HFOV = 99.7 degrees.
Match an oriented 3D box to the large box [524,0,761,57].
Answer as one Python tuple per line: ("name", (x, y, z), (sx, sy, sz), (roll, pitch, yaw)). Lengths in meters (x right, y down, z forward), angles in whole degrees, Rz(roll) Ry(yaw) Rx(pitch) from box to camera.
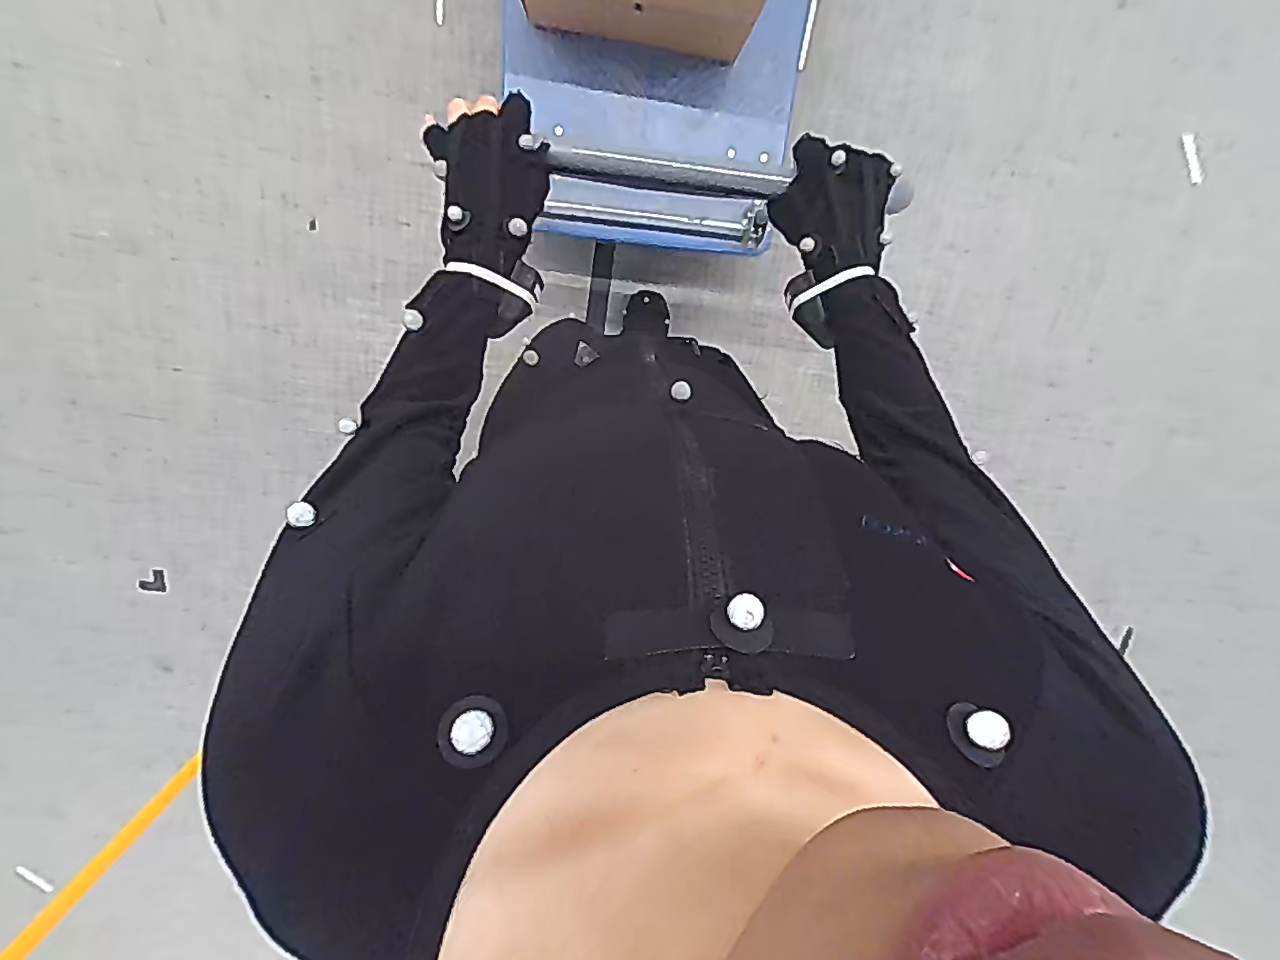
("large box", (0.012, -0.948, 0.870), (0.408, 0.320, 0.320), (6, 107, -5))

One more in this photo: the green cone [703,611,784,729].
("green cone", (0.322, 0.554, 1.515), (0.202, 0.368, 0.200), (11, 107, -8))
